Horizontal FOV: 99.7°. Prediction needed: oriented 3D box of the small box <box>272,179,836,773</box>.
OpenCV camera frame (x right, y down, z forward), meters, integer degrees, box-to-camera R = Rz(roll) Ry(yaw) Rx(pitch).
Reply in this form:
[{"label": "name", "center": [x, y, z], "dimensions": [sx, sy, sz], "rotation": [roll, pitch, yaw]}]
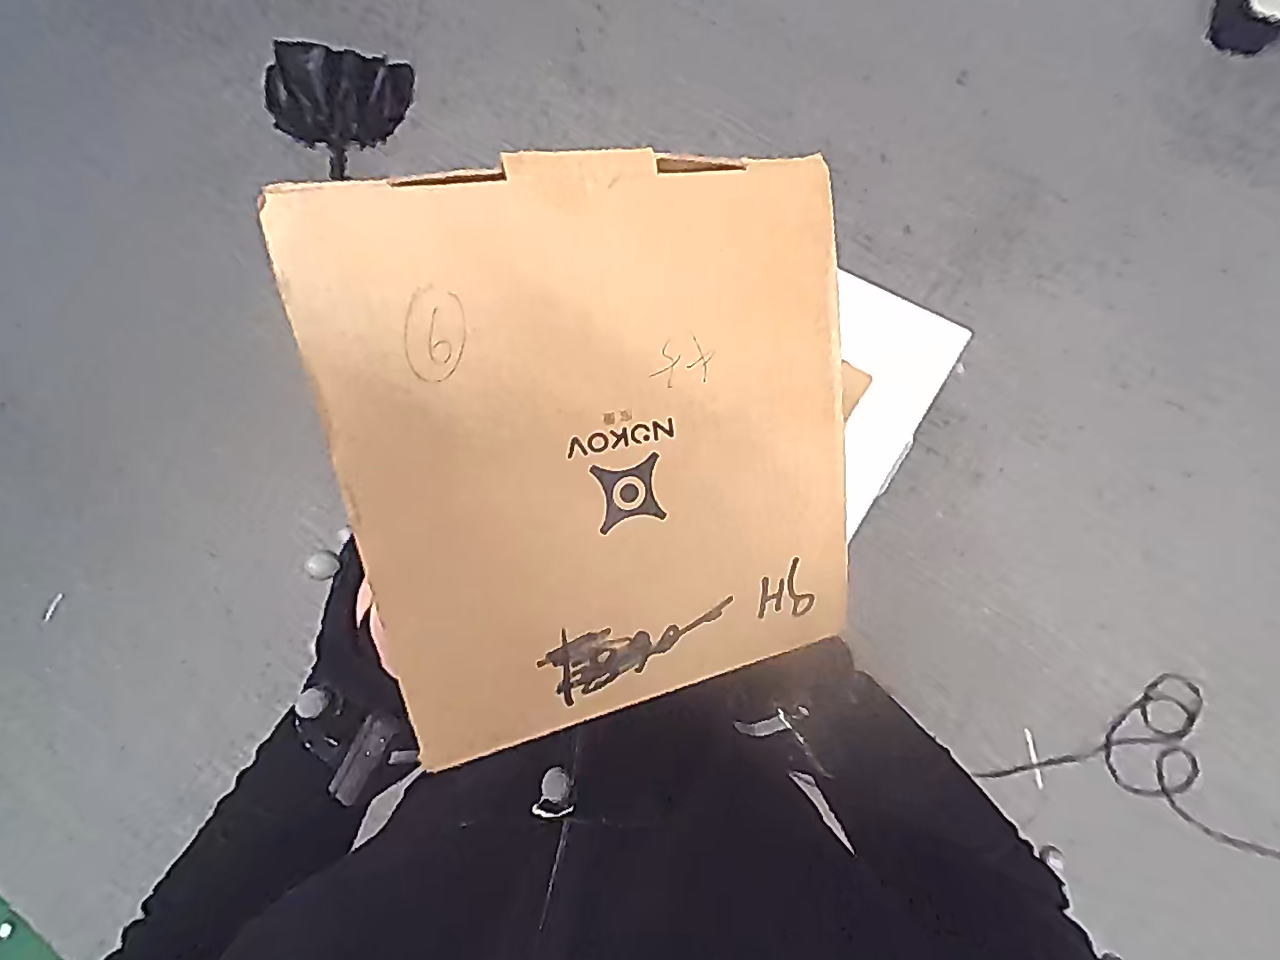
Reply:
[{"label": "small box", "center": [-0.034, -0.016, 0.254], "dimensions": [0.168, 0.176, 0.179], "rotation": [-13, 104, -16]}]
